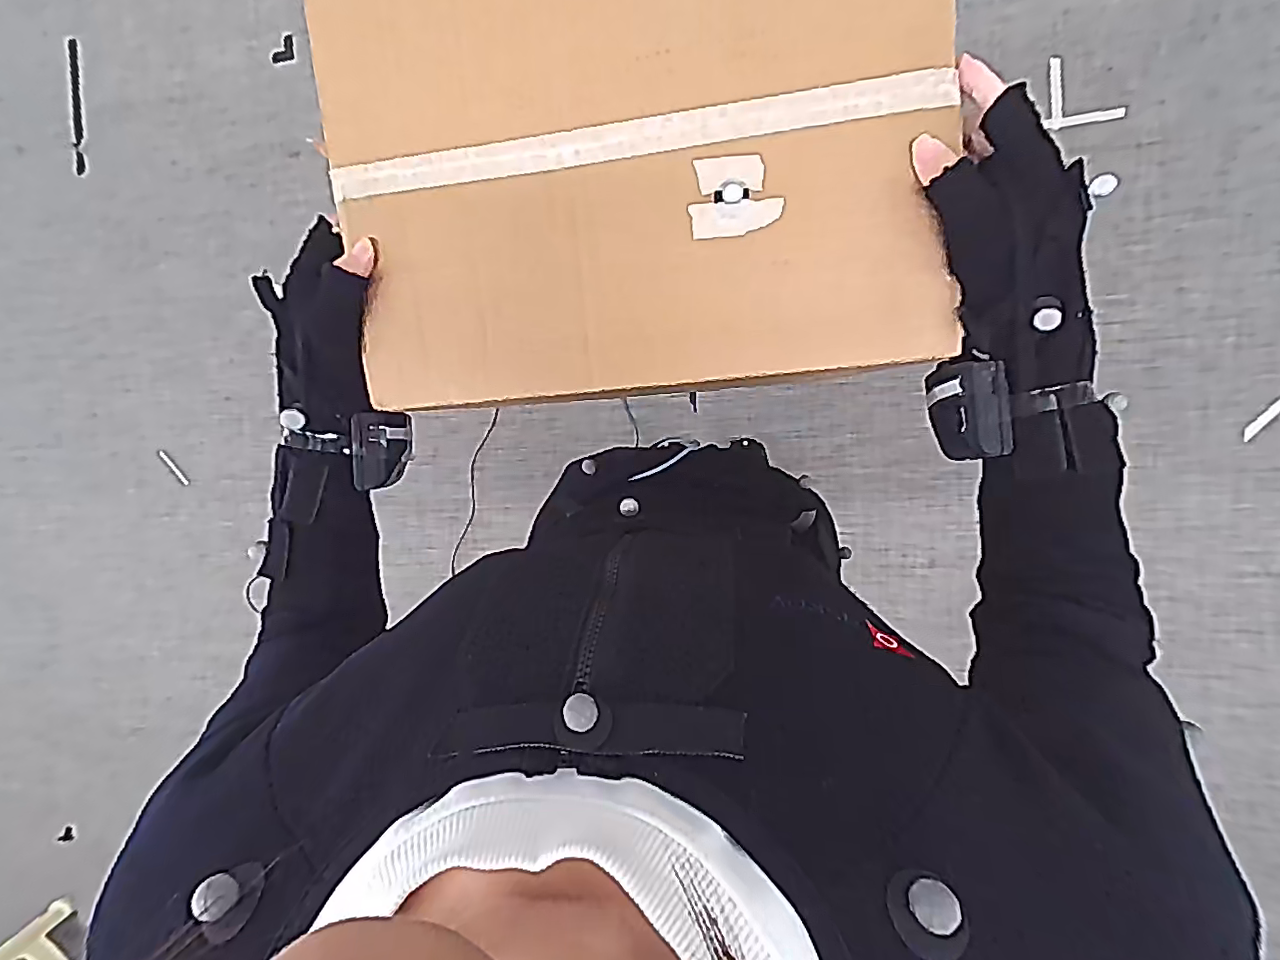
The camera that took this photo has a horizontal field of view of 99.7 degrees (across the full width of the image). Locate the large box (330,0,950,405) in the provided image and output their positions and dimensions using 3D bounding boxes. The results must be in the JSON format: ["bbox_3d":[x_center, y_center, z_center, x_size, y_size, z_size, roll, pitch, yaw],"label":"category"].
[{"bbox_3d":[0.009,-0.247,0.510,0.408,0.320,0.320,-5,99,7],"label":"large box"}]
